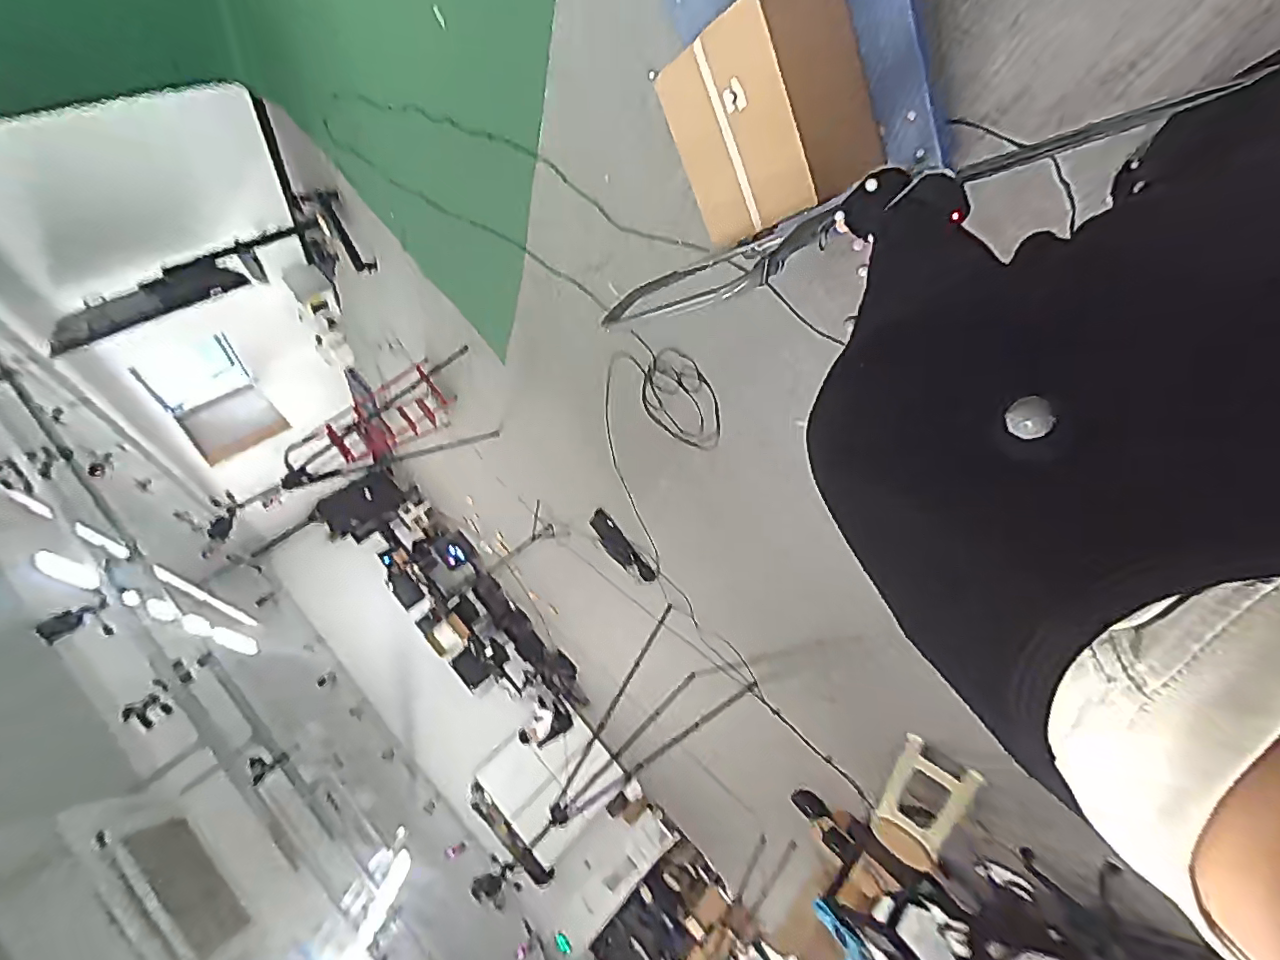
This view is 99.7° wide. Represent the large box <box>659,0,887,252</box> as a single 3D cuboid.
[{"bbox_3d":[0.315,-0.817,1.261,0.320,0.320,0.408,3,123,53],"label":"large box"}]
